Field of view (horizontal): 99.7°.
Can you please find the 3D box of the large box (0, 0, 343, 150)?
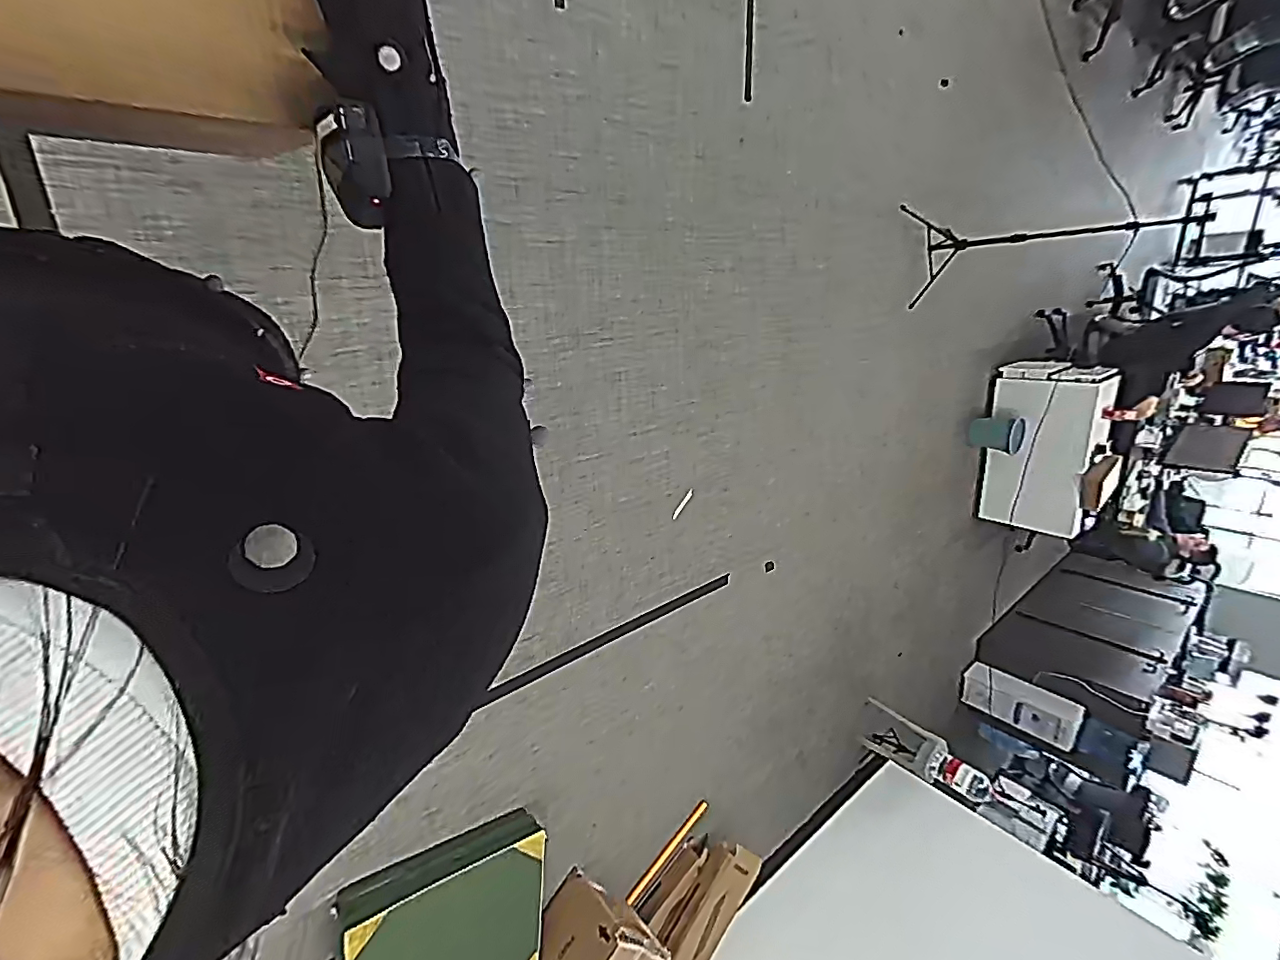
[{"bbox_3d":[-0.458,-0.398,0.313,0.408,0.320,0.320,-18,123,-37],"label":"large box"}]
